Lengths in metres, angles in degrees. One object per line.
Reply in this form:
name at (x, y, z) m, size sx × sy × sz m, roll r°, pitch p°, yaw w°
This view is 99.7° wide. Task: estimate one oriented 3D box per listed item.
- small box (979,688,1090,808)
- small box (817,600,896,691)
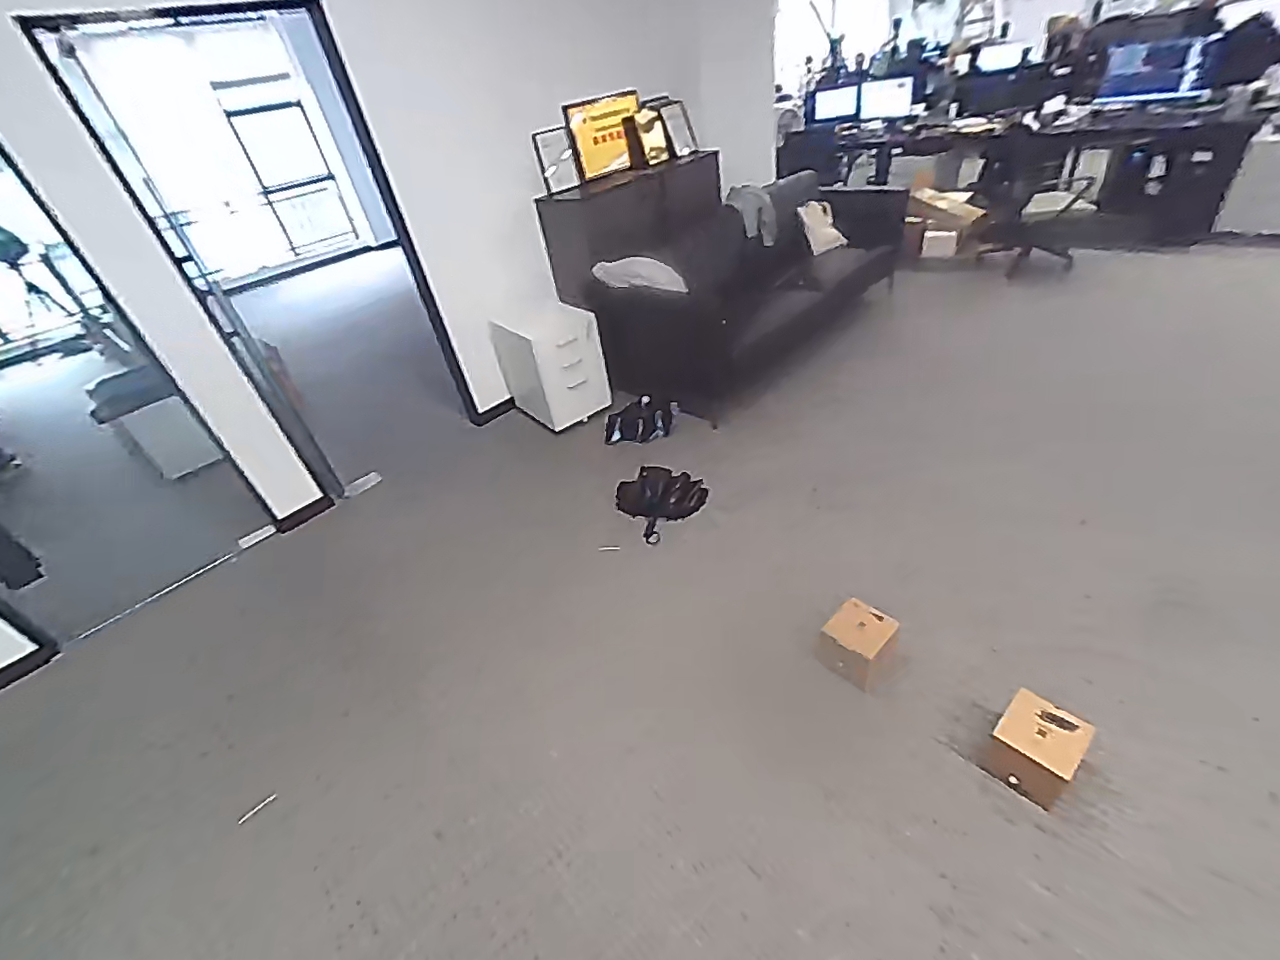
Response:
small box at (0.991, 0.678, 1.371) m, size 0.179 × 0.176 × 0.168 m, roll -35°, pitch 41°, yaw -27°
small box at (0.671, 0.517, 1.684) m, size 0.179 × 0.176 × 0.168 m, roll -34°, pitch 41°, yaw -28°
